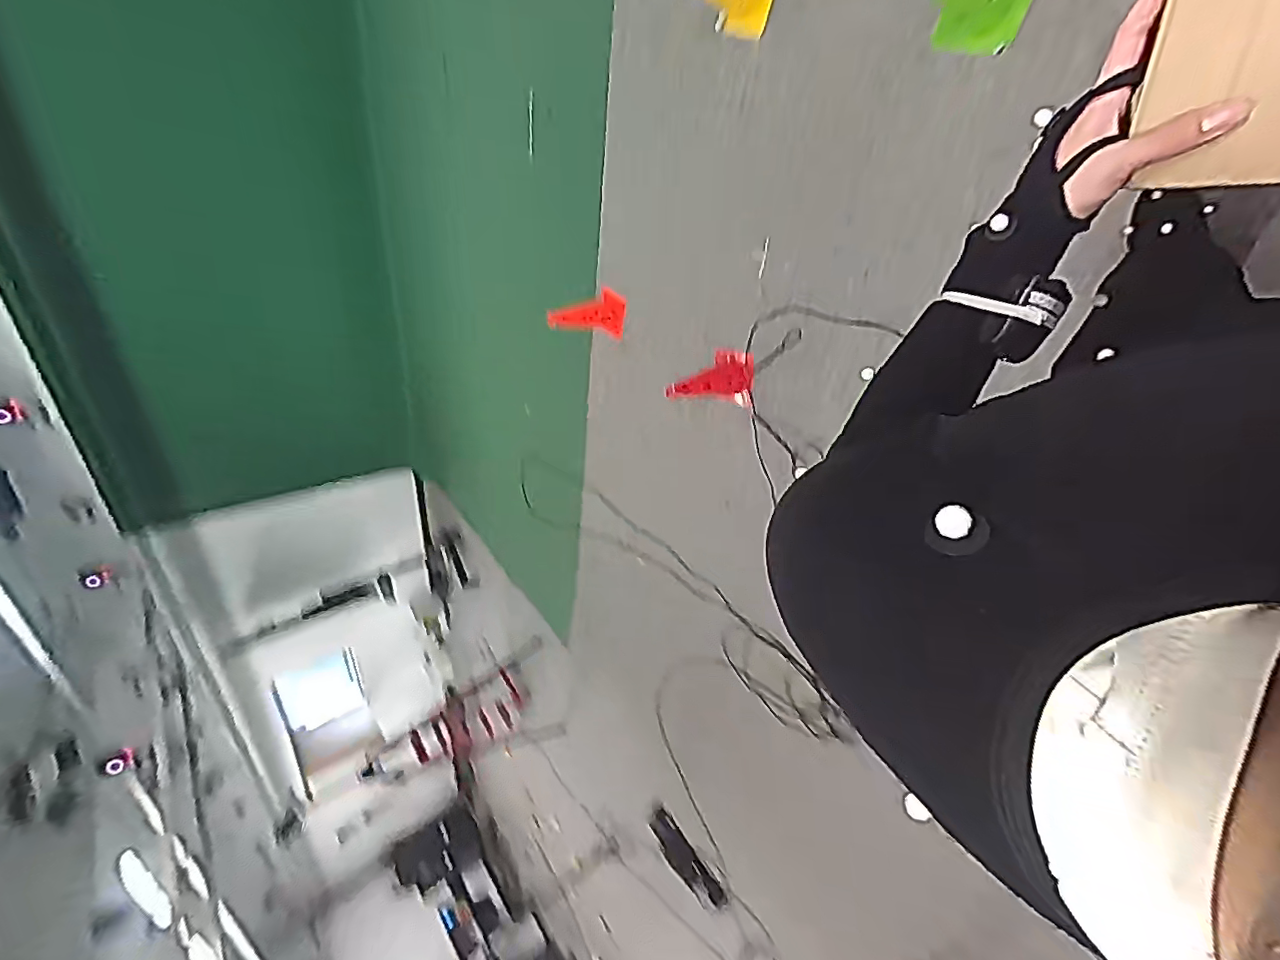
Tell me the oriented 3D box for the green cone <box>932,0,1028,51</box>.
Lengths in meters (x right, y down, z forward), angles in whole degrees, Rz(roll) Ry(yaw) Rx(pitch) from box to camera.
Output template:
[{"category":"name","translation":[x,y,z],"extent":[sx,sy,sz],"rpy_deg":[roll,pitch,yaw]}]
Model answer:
[{"category":"green cone","translation":[0.674,-1.089,1.158],"extent":[0.202,0.368,0.200],"rpy_deg":[44,136,35]}]

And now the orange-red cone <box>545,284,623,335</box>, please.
[{"category":"orange-red cone","translation":[-0.283,-0.789,2.558],"extent":[0.198,0.360,0.199],"rpy_deg":[45,138,33]}]
